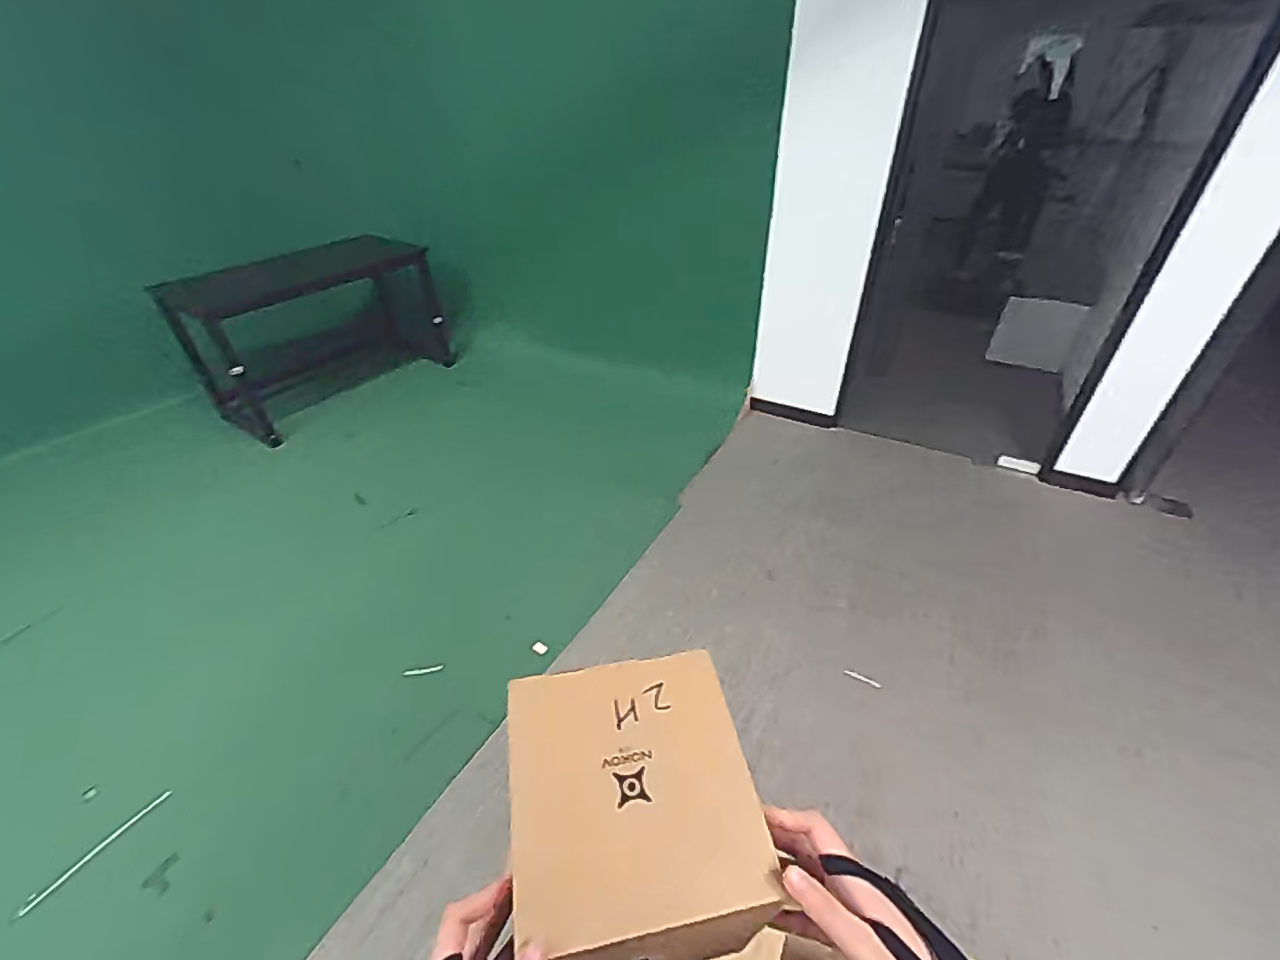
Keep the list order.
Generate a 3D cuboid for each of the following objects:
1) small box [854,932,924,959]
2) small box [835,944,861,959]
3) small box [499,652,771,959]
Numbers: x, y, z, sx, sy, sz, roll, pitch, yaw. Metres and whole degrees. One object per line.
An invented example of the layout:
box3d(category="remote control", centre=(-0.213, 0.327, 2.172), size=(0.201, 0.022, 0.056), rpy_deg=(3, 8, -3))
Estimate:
box3d(category="small box", centre=(0.423, 0.892, 0.868), size=(0.168, 0.176, 0.179), rpy_deg=(16, 41, 23))
box3d(category="small box", centre=(0.433, 1.007, 0.987), size=(0.179, 0.176, 0.168), rpy_deg=(13, 41, 20))
box3d(category="small box", centre=(-0.017, 0.269, 0.428), size=(0.168, 0.176, 0.179), rpy_deg=(-6, 41, -11))
